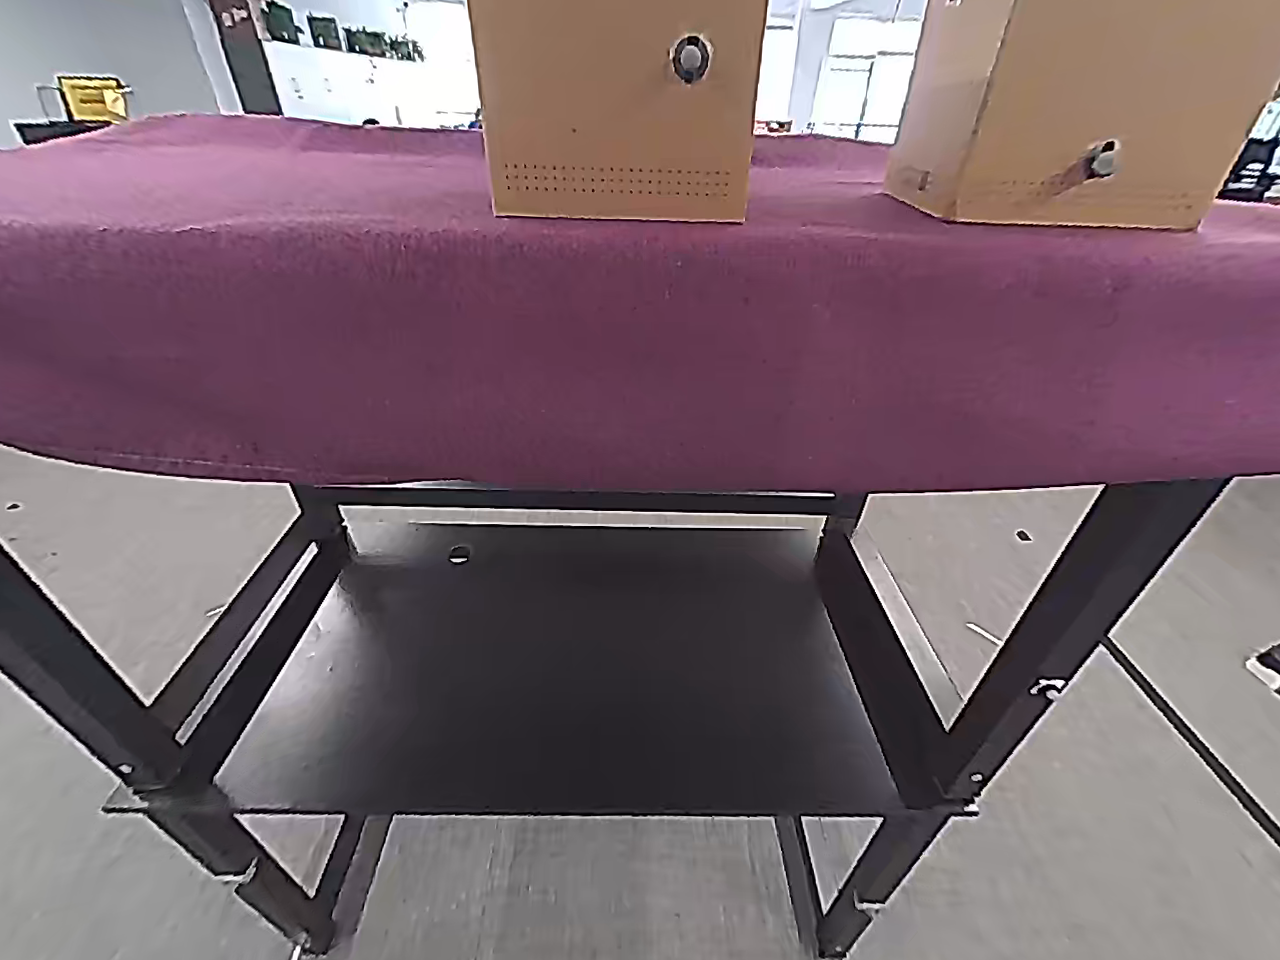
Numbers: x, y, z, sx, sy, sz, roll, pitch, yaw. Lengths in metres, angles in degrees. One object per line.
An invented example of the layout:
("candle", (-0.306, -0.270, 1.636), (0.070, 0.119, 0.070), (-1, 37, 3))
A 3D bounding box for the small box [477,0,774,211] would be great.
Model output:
("small box", (-0.005, -0.298, 0.389), (0.179, 0.176, 0.168), (2, 34, 1))

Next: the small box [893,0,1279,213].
("small box", (0.318, -0.300, 0.398), (0.179, 0.176, 0.168), (4, 34, 3))
